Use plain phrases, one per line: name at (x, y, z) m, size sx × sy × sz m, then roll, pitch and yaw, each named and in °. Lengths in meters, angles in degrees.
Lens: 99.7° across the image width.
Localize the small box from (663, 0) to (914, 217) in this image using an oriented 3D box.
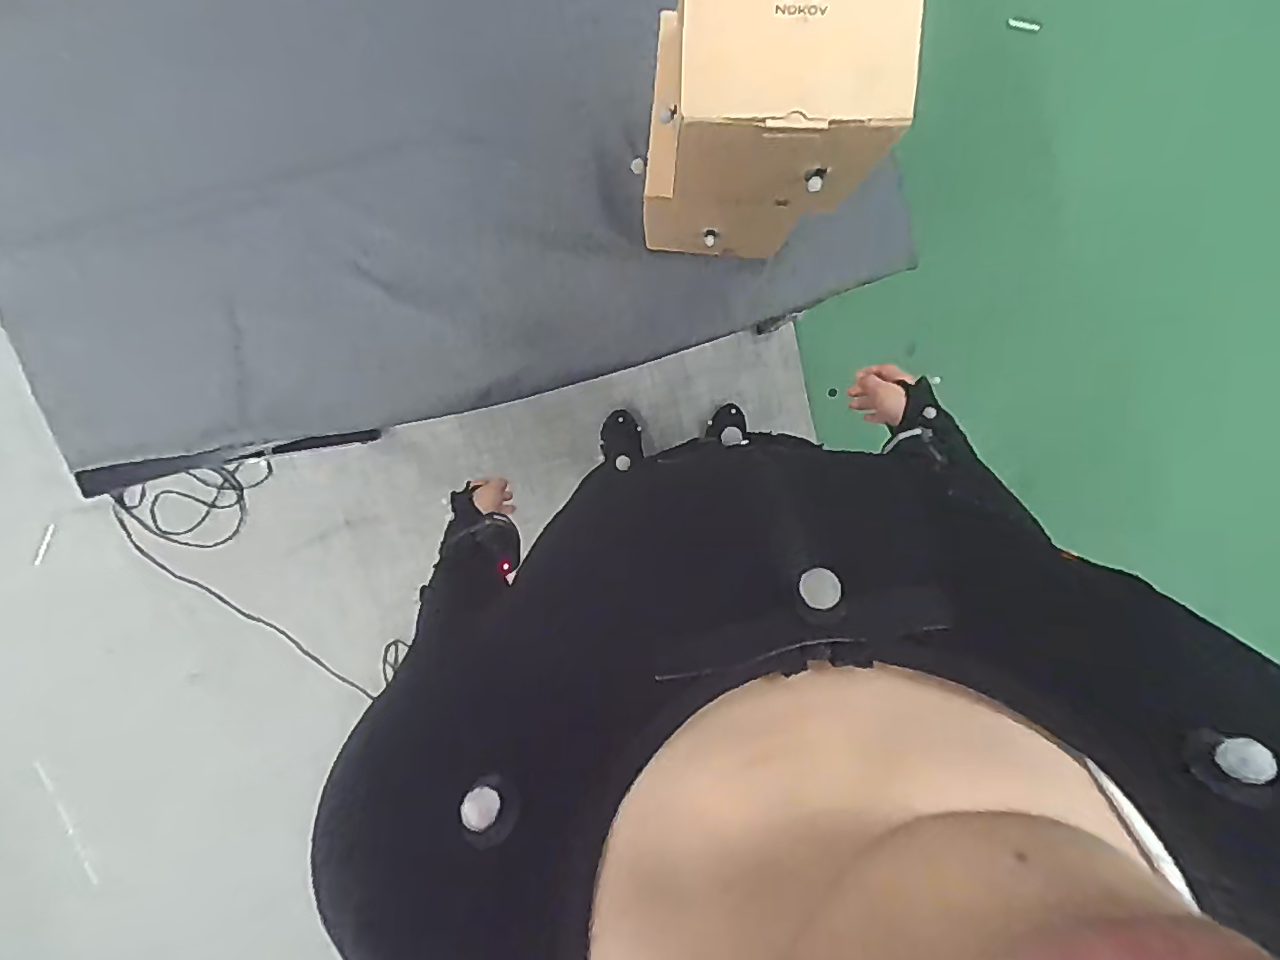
small box at (0.105, -0.333, 0.444) m, size 0.168 × 0.176 × 0.179 m, roll 0°, pitch 96°, yaw 1°

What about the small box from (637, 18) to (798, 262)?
small box at (0.090, -0.359, 0.605) m, size 0.168 × 0.176 × 0.179 m, roll 6°, pitch 96°, yaw 1°
